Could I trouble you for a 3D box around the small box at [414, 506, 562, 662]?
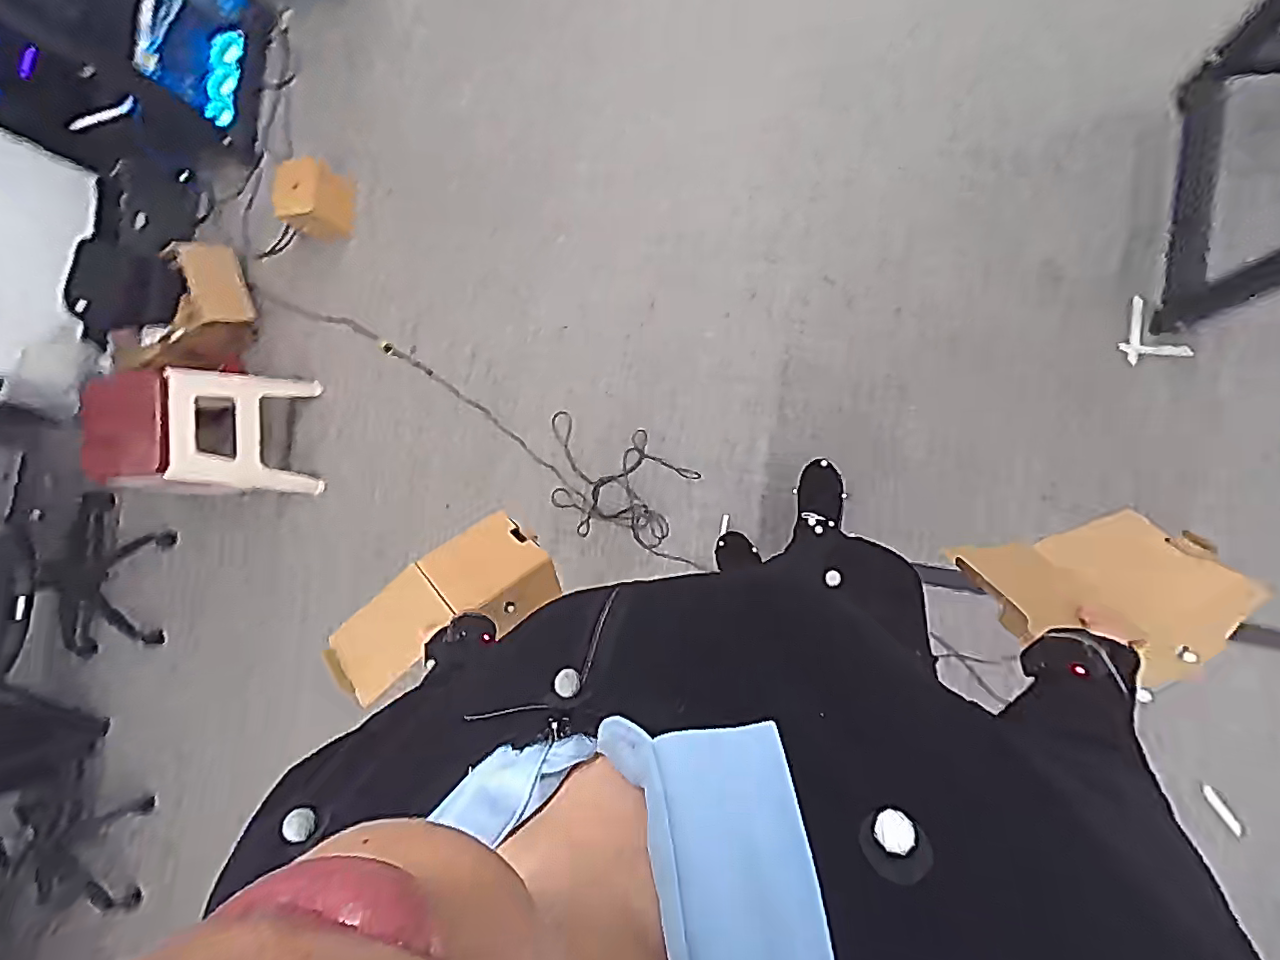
[{"bbox_3d":[-0.261,0.184,0.956,0.179,0.176,0.168,-33,49,-27],"label":"small box"}]
